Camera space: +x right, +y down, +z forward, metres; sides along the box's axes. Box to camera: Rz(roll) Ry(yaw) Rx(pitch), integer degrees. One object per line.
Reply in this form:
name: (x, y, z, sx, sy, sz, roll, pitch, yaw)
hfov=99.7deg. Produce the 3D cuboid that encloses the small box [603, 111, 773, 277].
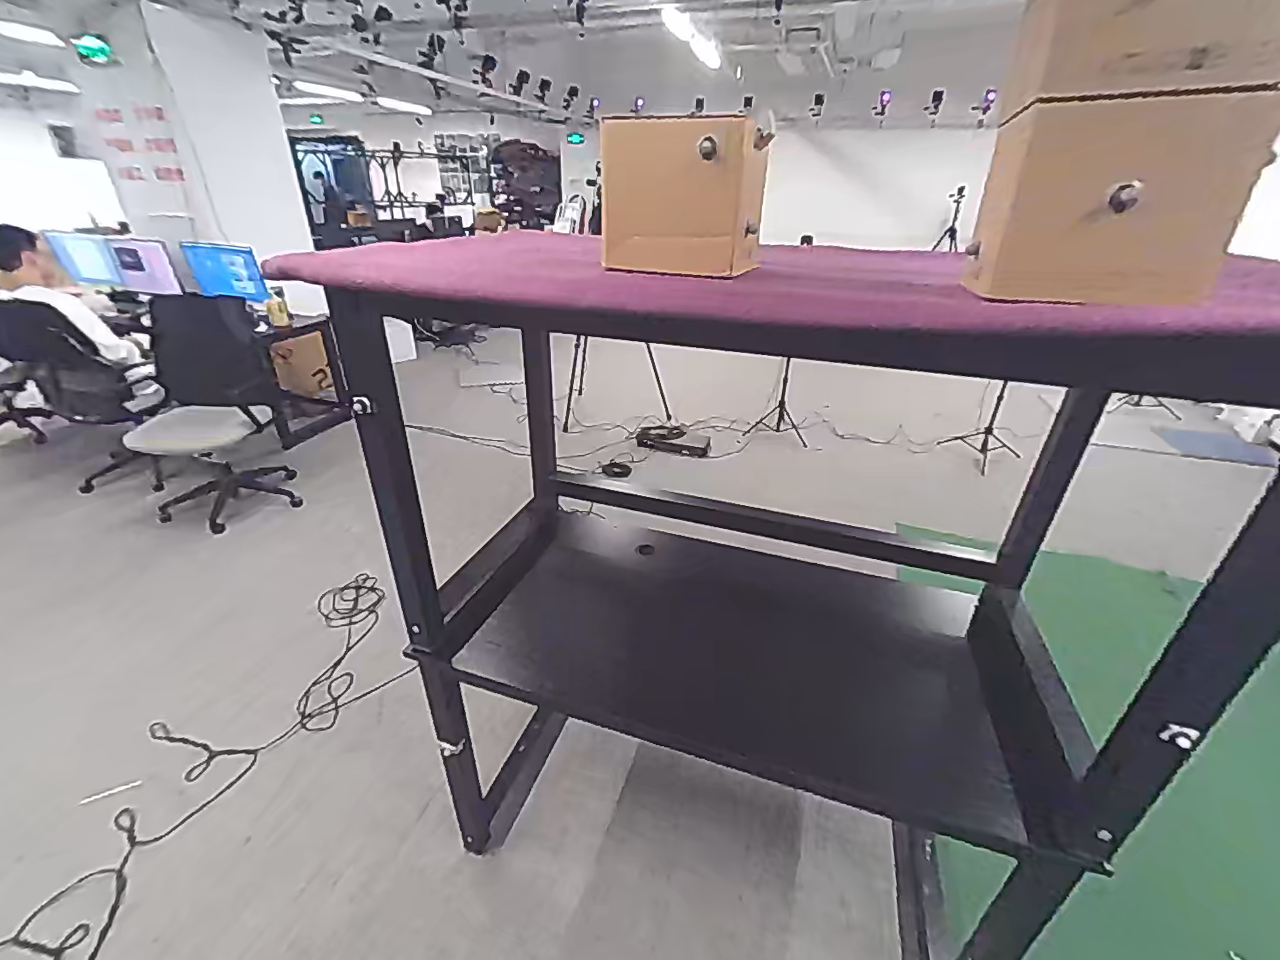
small box: (0.062, -0.360, 0.699, 0.179, 0.176, 0.168, 12, 29, 17)

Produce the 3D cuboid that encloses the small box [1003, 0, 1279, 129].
small box: (0.448, -0.421, 0.472, 0.168, 0.176, 0.179, 10, 27, 18)
